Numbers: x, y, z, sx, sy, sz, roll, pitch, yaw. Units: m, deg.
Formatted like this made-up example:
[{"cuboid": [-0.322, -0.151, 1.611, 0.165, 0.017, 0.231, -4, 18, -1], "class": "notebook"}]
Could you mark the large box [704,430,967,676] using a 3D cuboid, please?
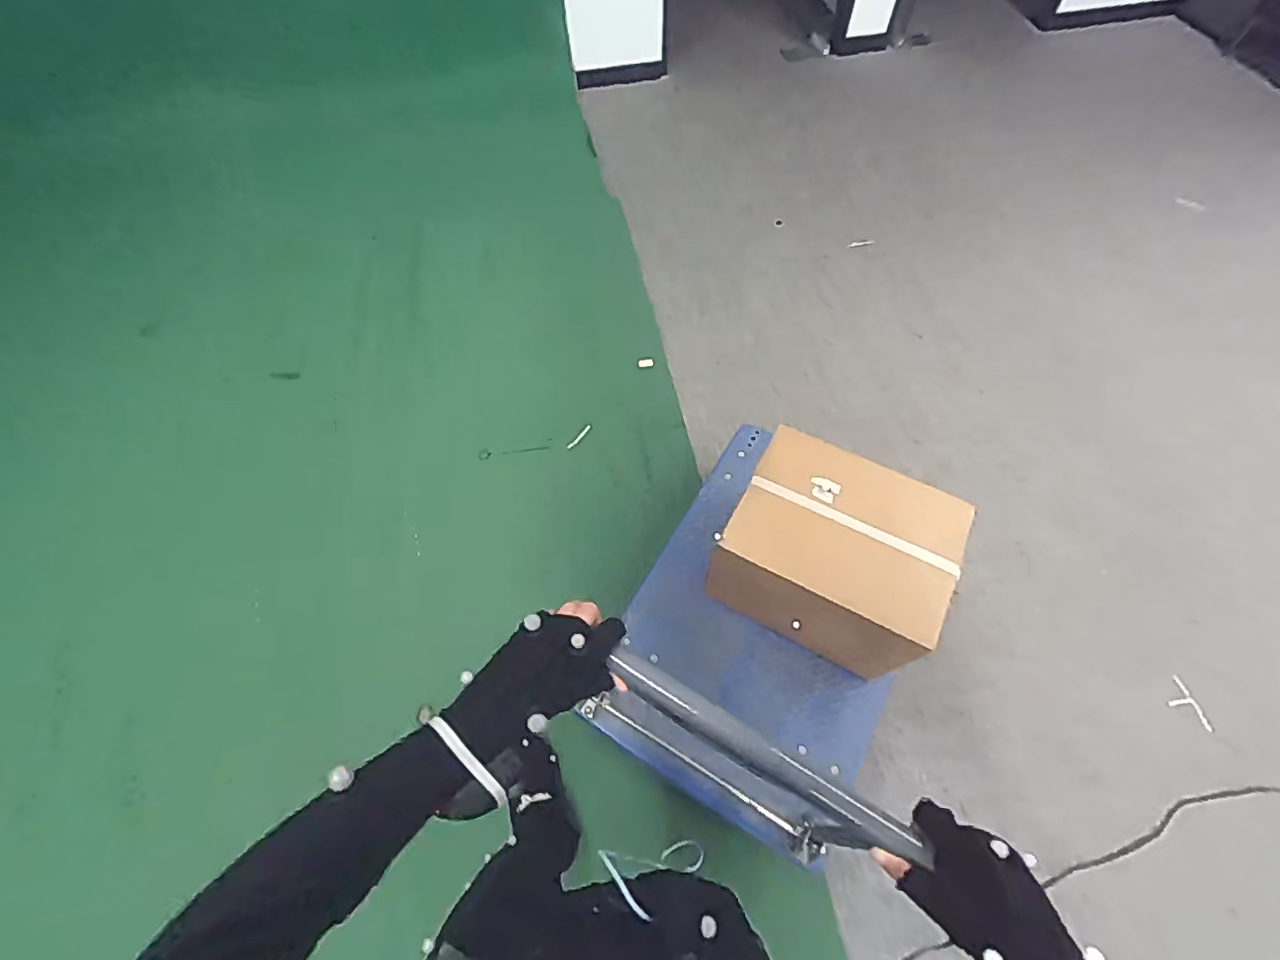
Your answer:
[{"cuboid": [0.387, 0.162, 1.149, 0.408, 0.320, 0.320, 25, 64, 16], "class": "large box"}]
